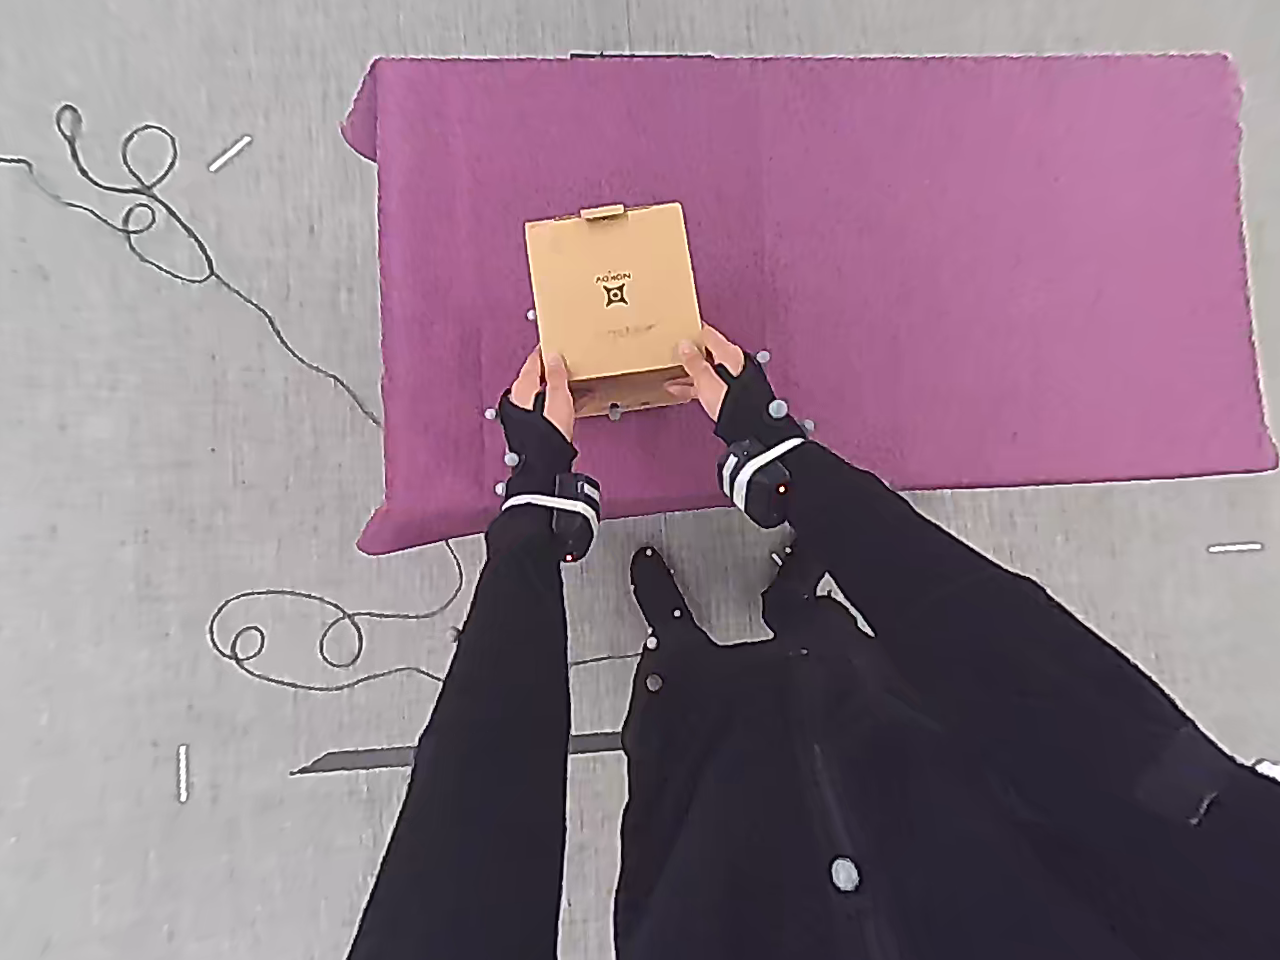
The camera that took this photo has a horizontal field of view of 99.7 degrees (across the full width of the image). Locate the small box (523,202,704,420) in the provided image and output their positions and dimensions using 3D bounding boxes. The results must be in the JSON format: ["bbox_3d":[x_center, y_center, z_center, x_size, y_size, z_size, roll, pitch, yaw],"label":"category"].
[{"bbox_3d":[-0.030,-0.180,0.619,0.168,0.176,0.179,-8,84,-1],"label":"small box"}]
